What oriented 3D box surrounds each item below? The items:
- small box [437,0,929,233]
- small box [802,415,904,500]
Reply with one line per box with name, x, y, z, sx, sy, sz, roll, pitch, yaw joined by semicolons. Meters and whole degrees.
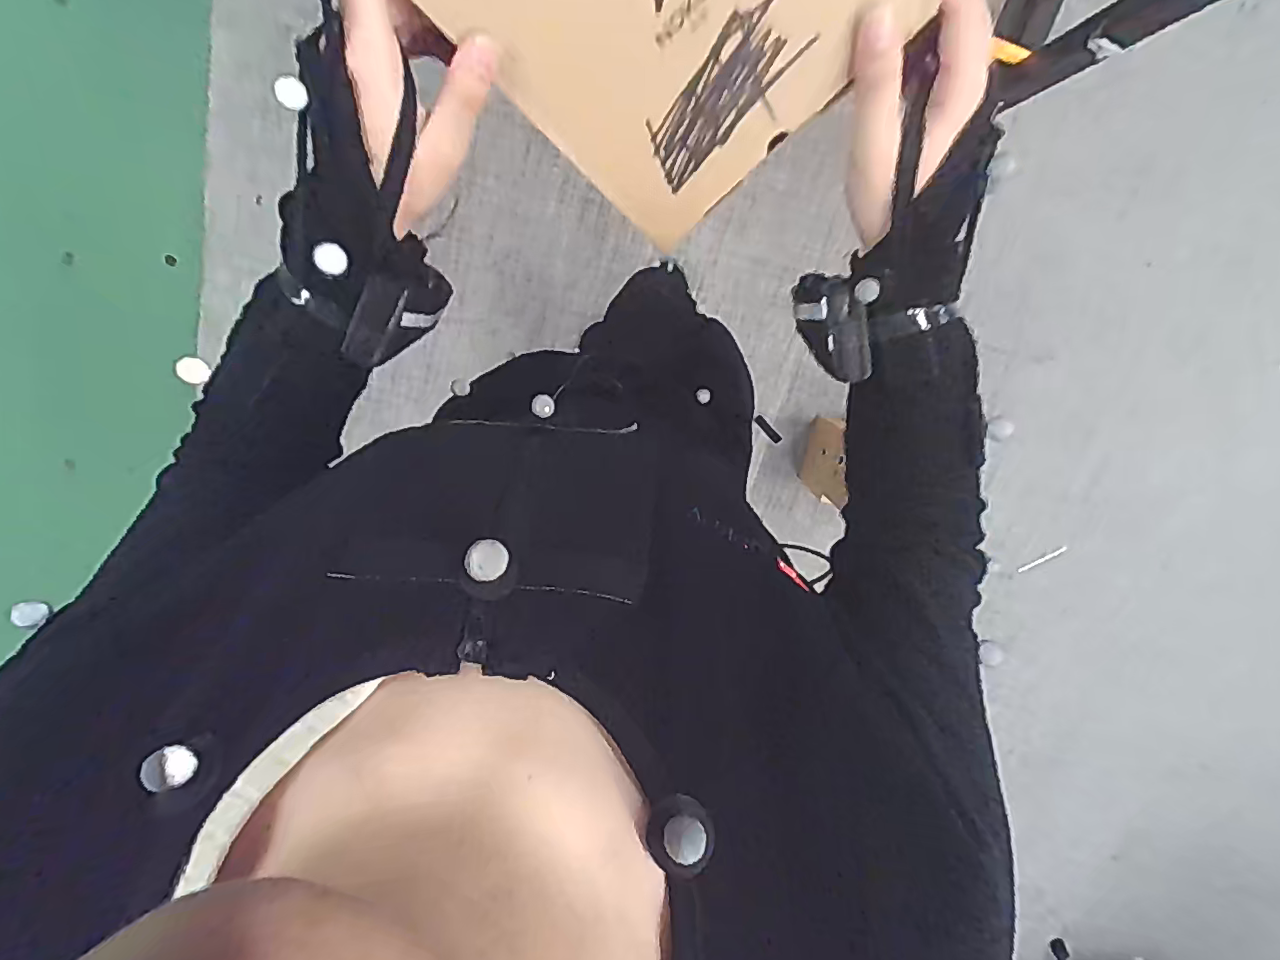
small box;0.014;-0.280;0.279;0.168;0.176;0.179;-32;131;33
small box;0.508;-0.049;1.299;0.168;0.176;0.179;10;107;-5
